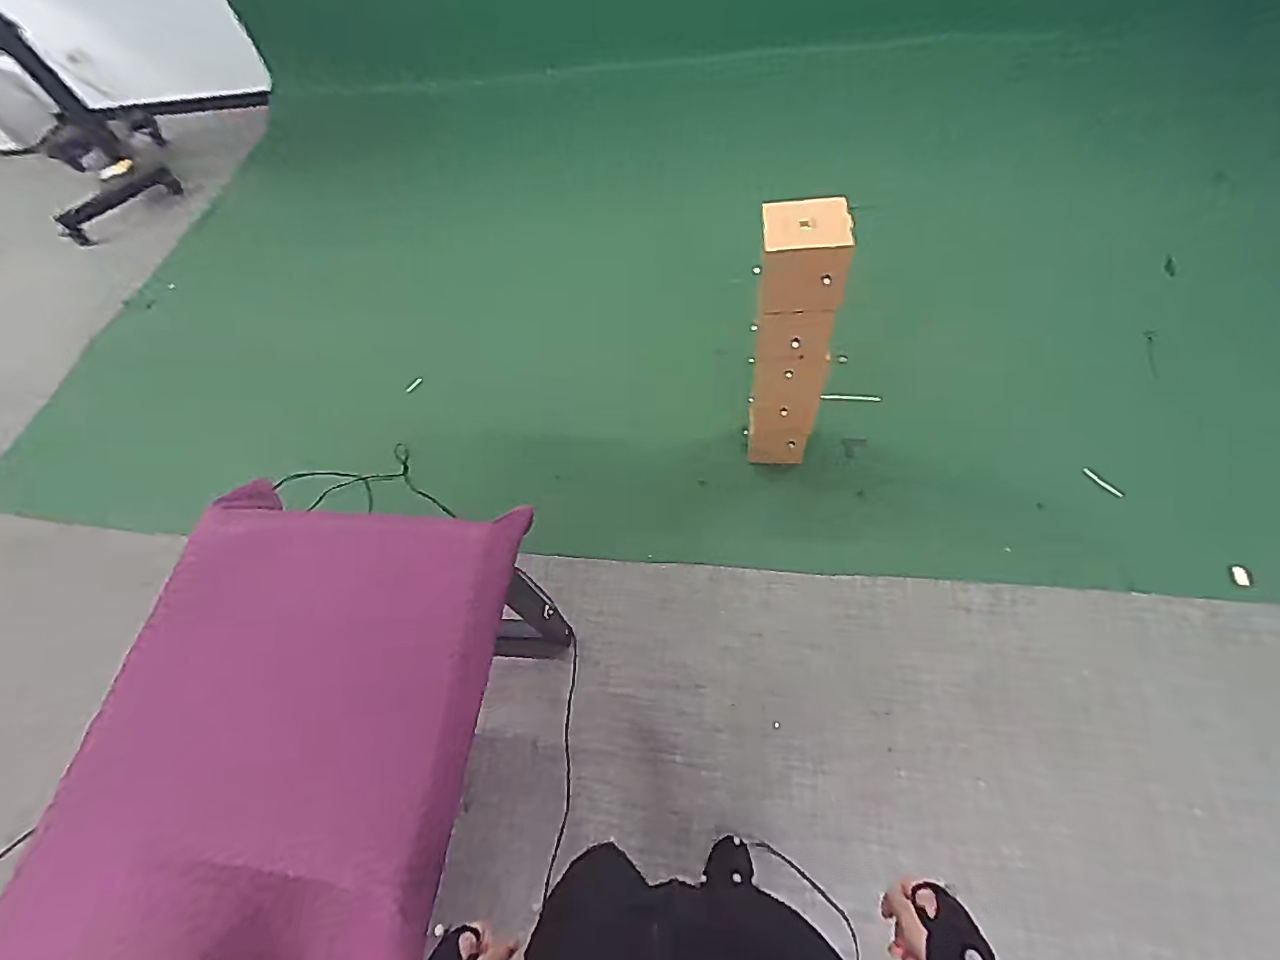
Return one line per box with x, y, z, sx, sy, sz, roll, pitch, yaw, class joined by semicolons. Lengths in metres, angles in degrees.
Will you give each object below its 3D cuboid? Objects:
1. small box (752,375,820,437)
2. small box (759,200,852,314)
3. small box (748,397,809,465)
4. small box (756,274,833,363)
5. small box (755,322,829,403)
0.432;-0.241;1.621;0.179;0.176;0.168;-1;60;9;small box
0.359;-0.490;1.204;0.179;0.176;0.168;0;59;10;small box
0.447;-0.158;1.760;0.179;0.176;0.168;2;60;10;small box
0.378;-0.406;1.344;0.168;0.176;0.179;0;61;9;small box
0.407;-0.324;1.482;0.179;0.176;0.168;-2;60;7;small box
